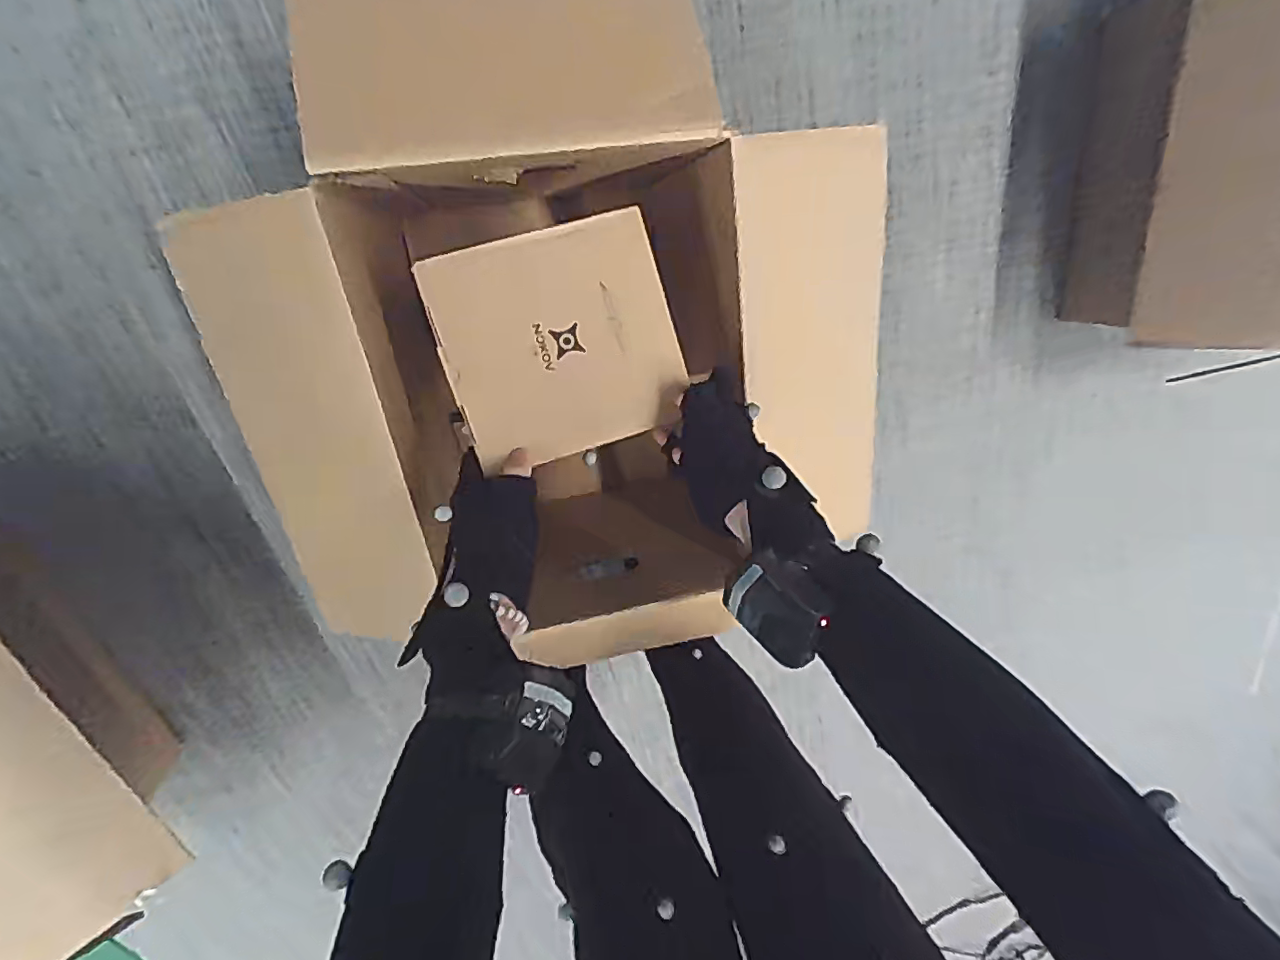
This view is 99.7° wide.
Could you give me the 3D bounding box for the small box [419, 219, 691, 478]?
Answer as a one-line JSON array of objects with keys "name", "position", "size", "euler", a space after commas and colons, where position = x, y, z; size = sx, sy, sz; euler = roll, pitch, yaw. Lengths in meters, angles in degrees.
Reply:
[{"name": "small box", "position": [-0.073, -0.108, 0.498], "size": [0.179, 0.176, 0.168], "euler": [-18, 98, -7]}]
